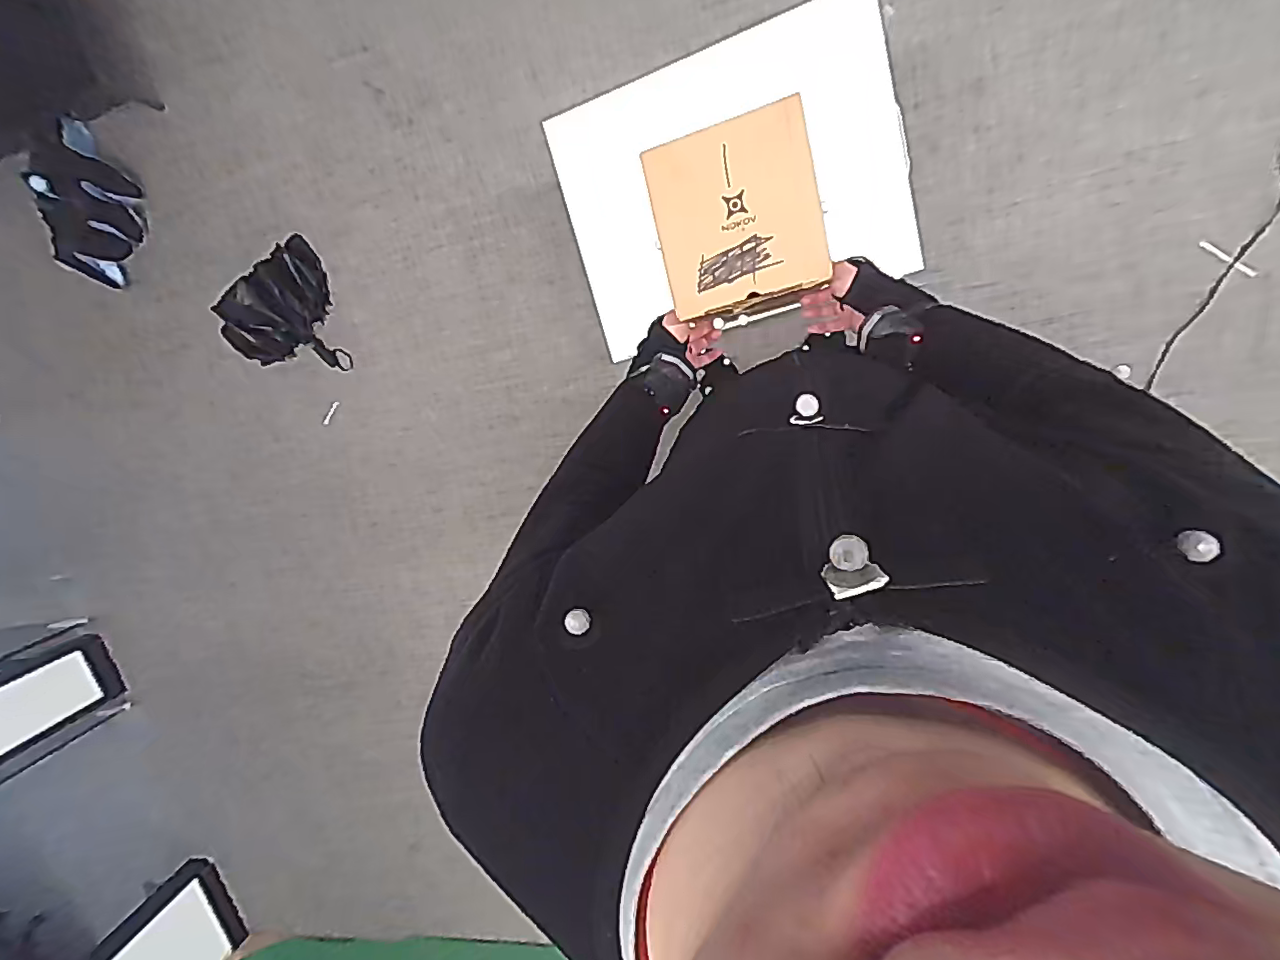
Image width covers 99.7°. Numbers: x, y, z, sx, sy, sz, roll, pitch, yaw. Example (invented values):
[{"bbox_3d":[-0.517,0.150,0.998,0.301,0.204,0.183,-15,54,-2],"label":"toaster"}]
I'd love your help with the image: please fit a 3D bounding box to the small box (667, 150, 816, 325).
[{"bbox_3d":[0.148,-0.333,0.783,0.168,0.176,0.179,-13,102,16],"label":"small box"}]
